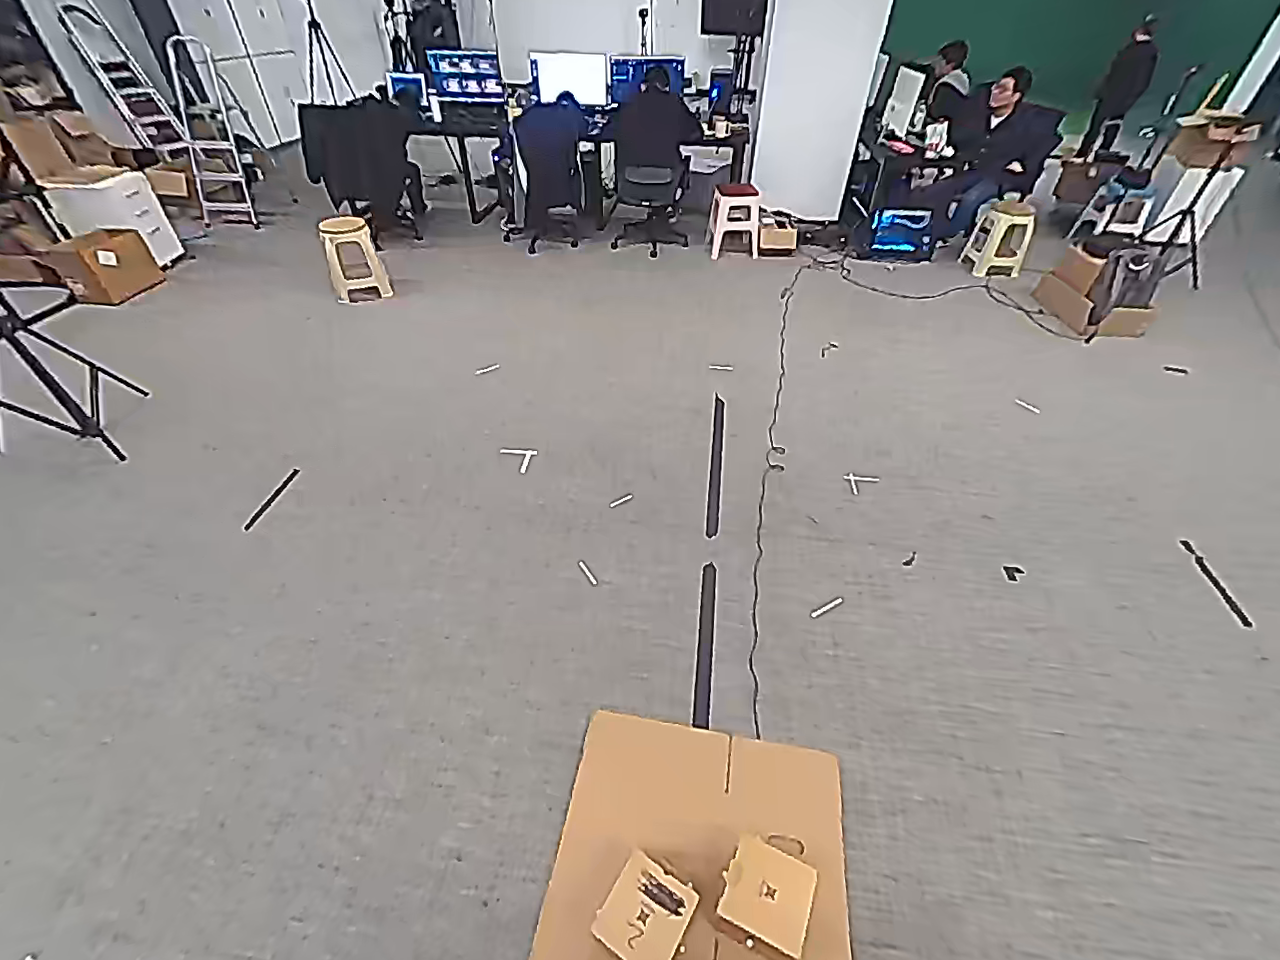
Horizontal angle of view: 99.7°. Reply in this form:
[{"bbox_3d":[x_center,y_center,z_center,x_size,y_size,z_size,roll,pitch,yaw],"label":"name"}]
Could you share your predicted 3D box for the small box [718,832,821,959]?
[{"bbox_3d":[0.285,0.935,1.209,0.179,0.176,0.168,16,47,21],"label":"small box"}]
